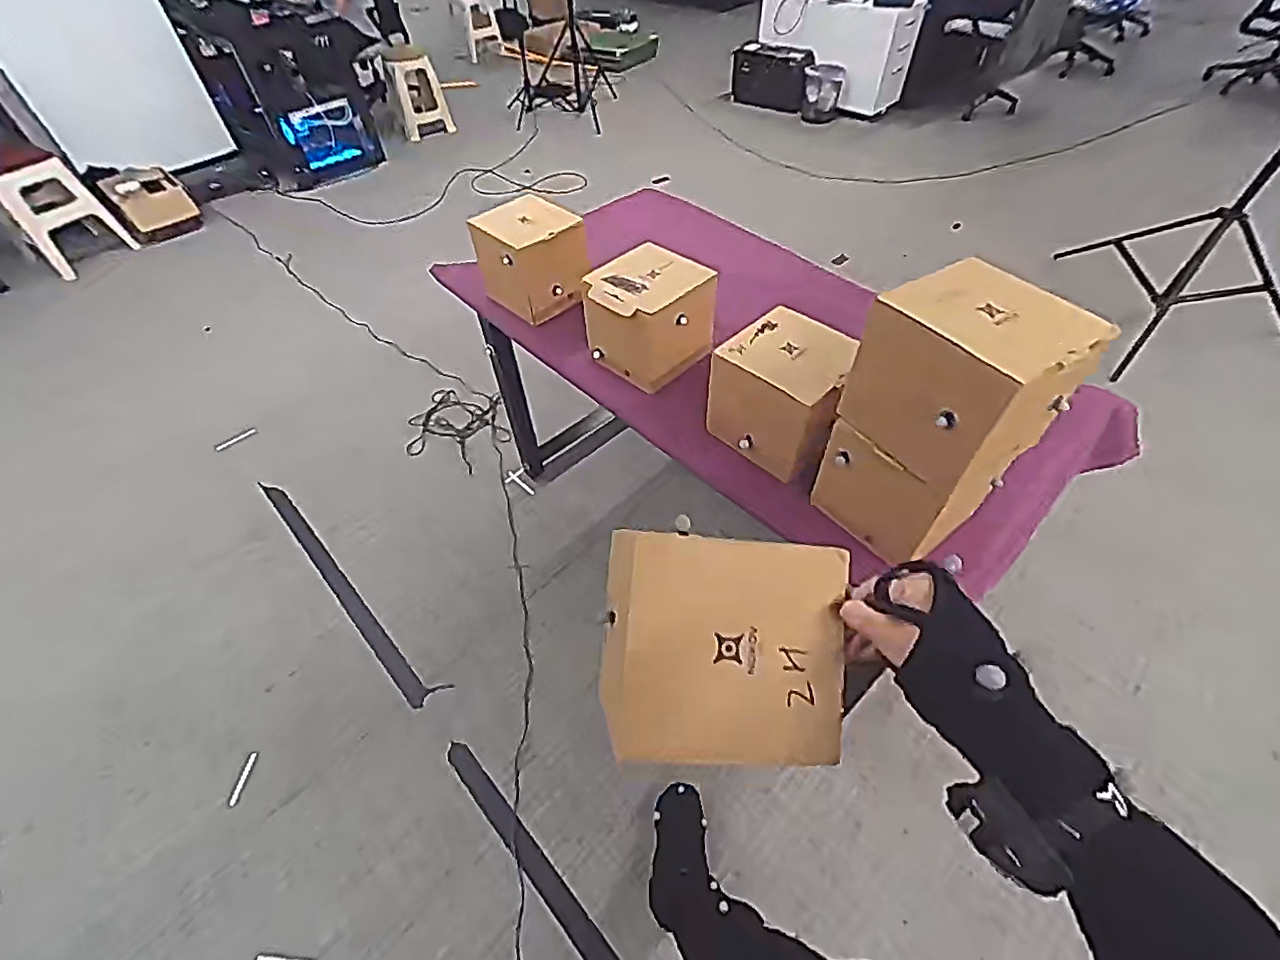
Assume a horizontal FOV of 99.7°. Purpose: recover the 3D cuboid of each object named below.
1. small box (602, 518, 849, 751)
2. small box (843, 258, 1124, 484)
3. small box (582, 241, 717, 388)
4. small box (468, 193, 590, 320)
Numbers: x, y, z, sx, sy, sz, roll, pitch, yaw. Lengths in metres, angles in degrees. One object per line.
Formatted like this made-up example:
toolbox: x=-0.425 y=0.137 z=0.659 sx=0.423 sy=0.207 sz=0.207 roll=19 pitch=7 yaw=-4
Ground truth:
small box: x=0.062 y=0.124 z=0.488 sx=0.179 sy=0.176 sz=0.168 roll=5 pitch=86 yaw=-9
small box: x=0.367 y=-0.117 z=0.614 sx=0.168 sy=0.176 sz=0.179 roll=-26 pitch=53 yaw=-20
small box: x=0.020 y=-0.296 z=0.979 sx=0.168 sy=0.176 sz=0.179 roll=36 pitch=60 yaw=26
small box: x=-0.222 y=-0.461 z=1.121 sx=0.179 sy=0.176 sz=0.168 roll=36 pitch=60 yaw=26
